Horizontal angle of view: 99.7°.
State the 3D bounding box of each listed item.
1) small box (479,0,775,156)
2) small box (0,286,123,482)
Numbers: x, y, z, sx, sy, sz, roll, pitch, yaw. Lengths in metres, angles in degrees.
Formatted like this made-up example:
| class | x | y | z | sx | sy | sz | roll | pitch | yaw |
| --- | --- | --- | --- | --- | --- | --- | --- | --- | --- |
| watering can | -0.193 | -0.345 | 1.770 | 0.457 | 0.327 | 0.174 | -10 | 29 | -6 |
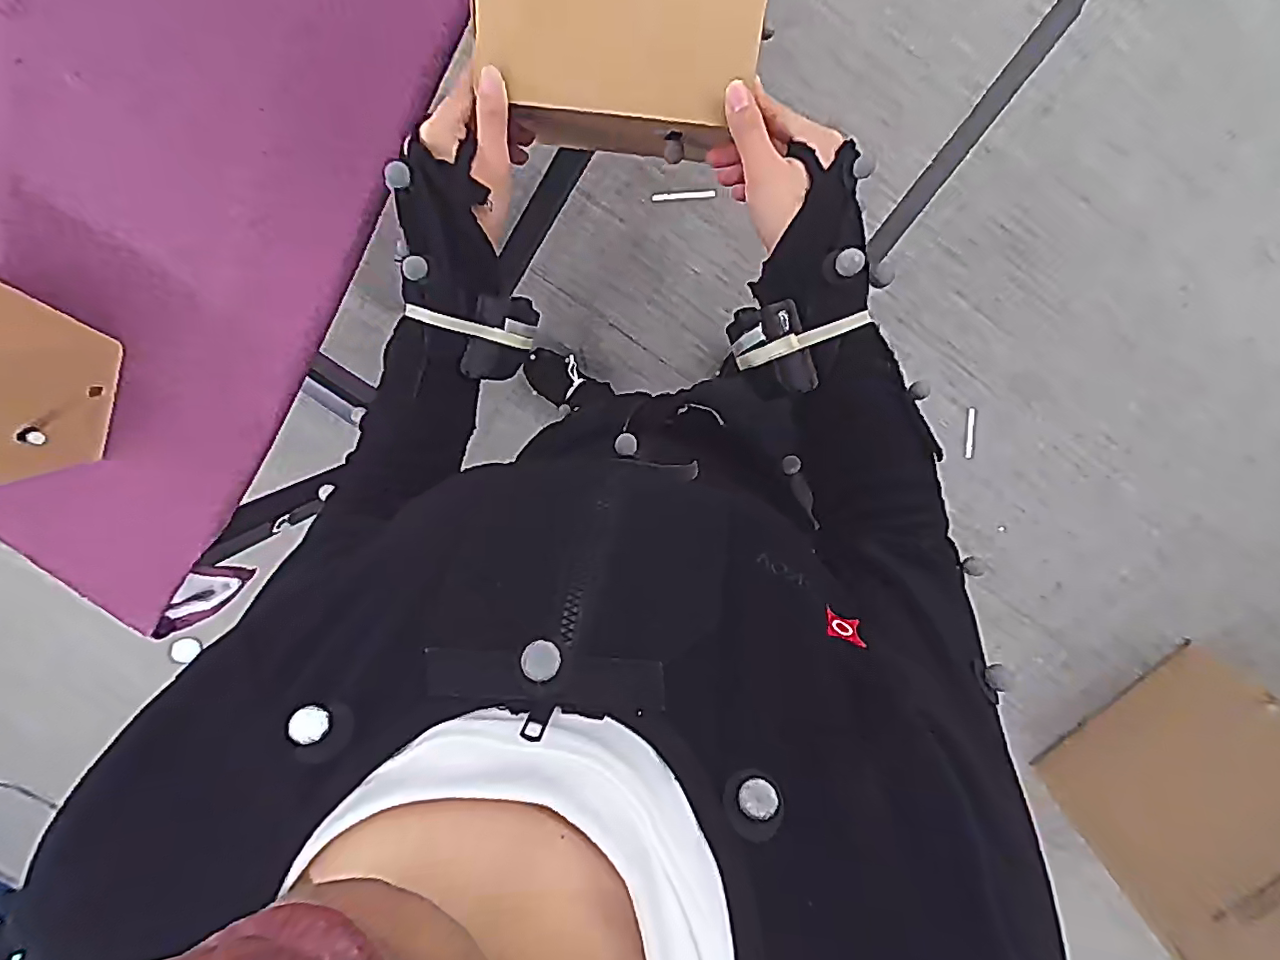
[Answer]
| class | x | y | z | sx | sy | sz | roll | pitch | yaw |
| --- | --- | --- | --- | --- | --- | --- | --- | --- | --- |
| small box | 0.000 | -0.338 | 0.378 | 0.179 | 0.176 | 0.168 | 8 | 113 | 2 |
| small box | -0.738 | -0.111 | 0.598 | 0.179 | 0.176 | 0.168 | 27 | 107 | -2 |
